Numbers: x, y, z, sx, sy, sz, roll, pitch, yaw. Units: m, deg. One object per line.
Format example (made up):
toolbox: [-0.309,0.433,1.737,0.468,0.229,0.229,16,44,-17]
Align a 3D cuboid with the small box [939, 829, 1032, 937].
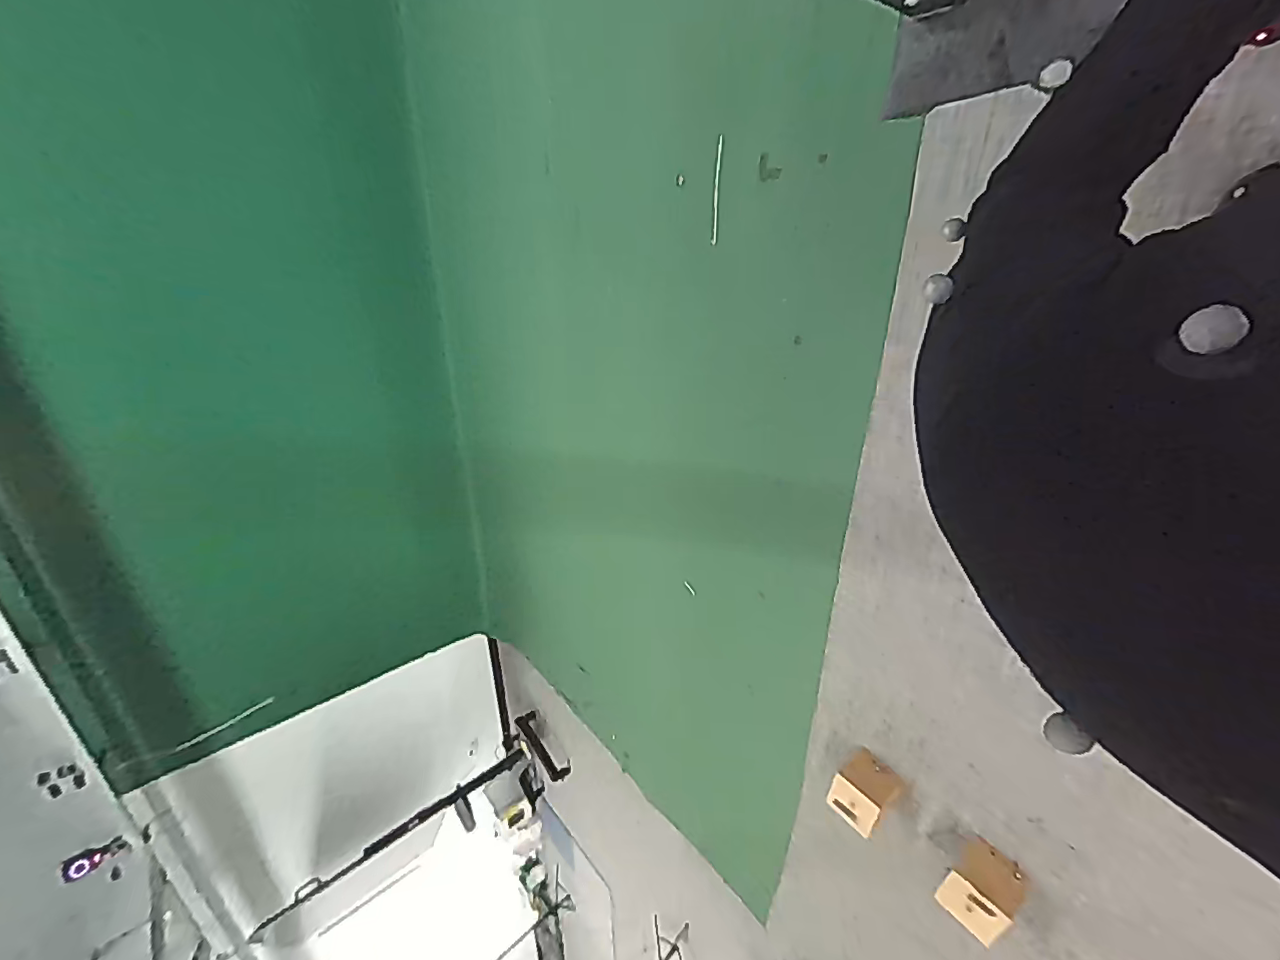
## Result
small box: [1.054,1.215,1.644,0.168,0.176,0.179,35,132,40]
